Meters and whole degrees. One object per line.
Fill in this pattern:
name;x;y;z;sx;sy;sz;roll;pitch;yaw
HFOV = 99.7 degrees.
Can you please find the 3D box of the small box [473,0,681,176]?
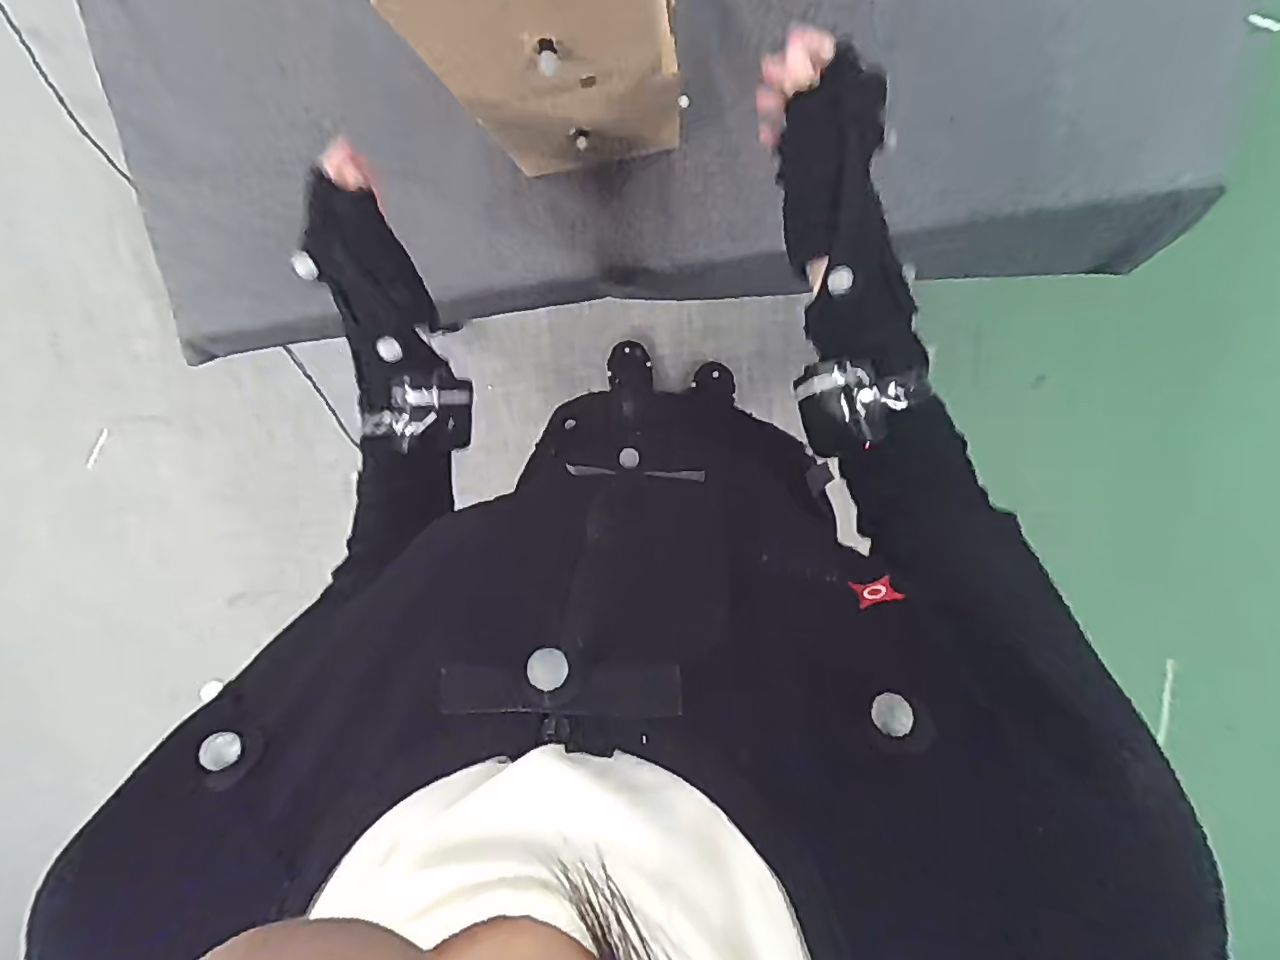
small box;-0.065;-0.413;0.508;0.179;0.176;0.168;-11;103;5
